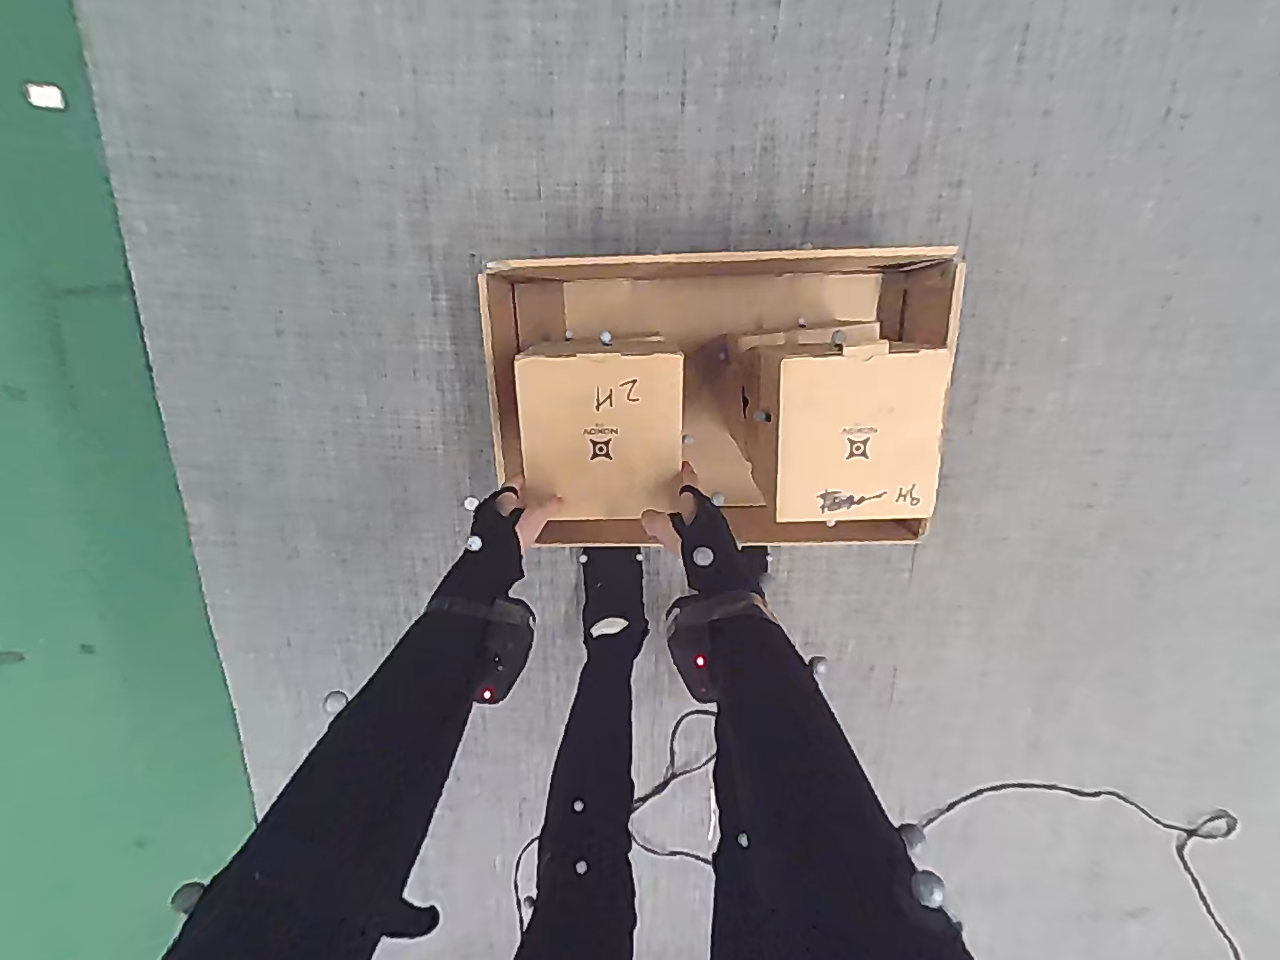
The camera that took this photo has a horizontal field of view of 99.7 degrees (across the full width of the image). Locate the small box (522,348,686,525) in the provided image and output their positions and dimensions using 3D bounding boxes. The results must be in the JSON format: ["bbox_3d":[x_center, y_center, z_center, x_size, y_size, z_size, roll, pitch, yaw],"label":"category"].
[{"bbox_3d":[-0.036,-0.059,0.633,0.168,0.176,0.179,-1,107,0],"label":"small box"}]

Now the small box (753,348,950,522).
[{"bbox_3d":[0.226,-0.061,0.626,0.168,0.176,0.179,-2,106,3],"label":"small box"}]

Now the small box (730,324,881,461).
[{"bbox_3d":[0.225,-0.130,0.774,0.179,0.176,0.168,-6,106,3],"label":"small box"}]

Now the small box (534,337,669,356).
[{"bbox_3d":[-0.045,-0.117,0.789,0.179,0.176,0.168,-5,107,0],"label":"small box"}]
